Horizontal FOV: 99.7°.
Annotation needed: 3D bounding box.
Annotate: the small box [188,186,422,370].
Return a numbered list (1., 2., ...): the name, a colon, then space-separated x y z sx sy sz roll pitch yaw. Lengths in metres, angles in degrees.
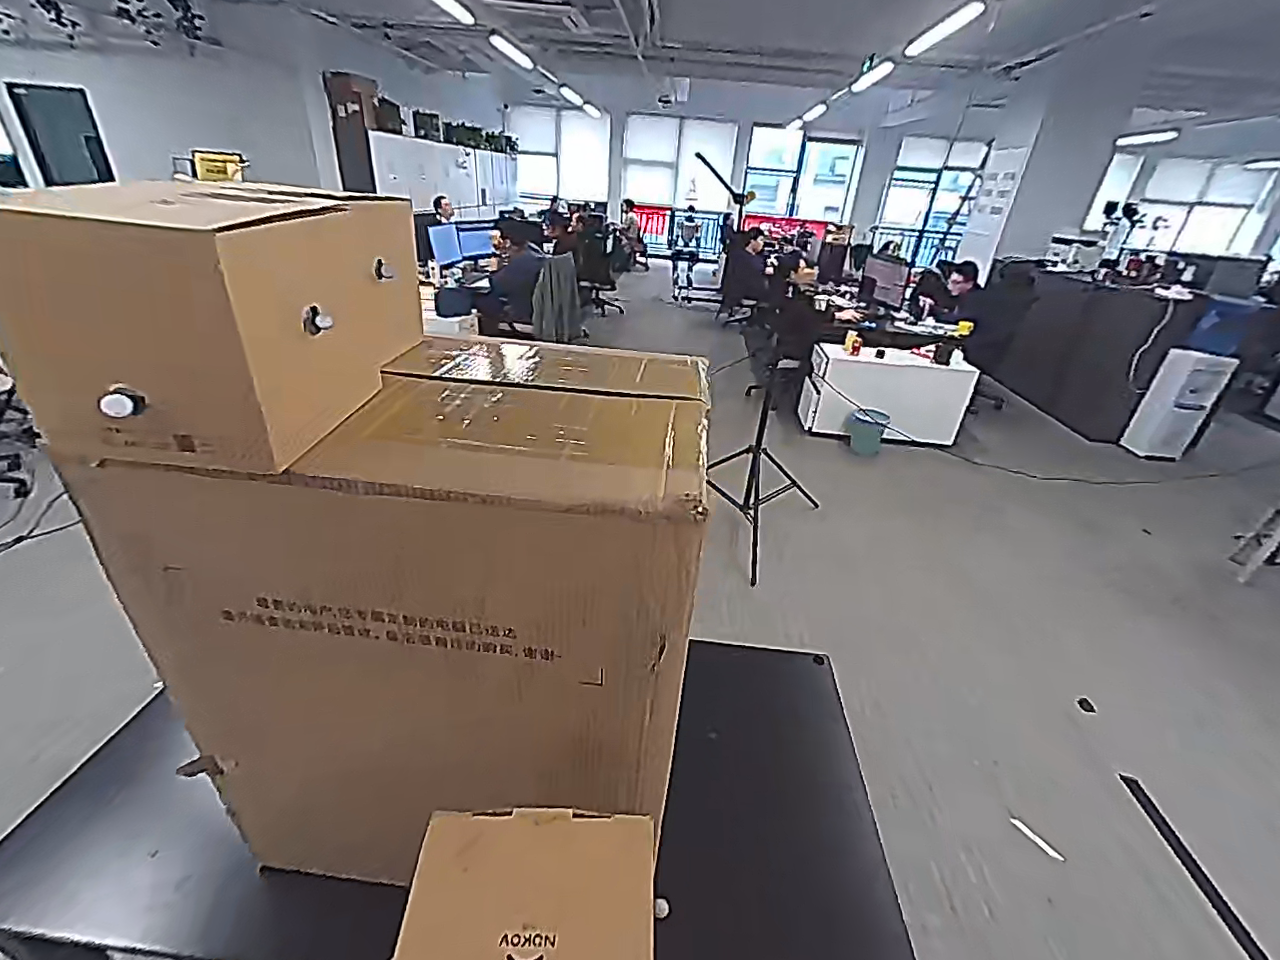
1. small box: -0.353 -0.219 0.591 0.168 0.176 0.179 4 28 -2

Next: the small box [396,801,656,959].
1. small box: -0.075 0.360 0.395 0.168 0.176 0.179 2 43 -1

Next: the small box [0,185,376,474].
1. small box: -0.330 -0.125 0.426 0.168 0.176 0.179 6 32 -1
